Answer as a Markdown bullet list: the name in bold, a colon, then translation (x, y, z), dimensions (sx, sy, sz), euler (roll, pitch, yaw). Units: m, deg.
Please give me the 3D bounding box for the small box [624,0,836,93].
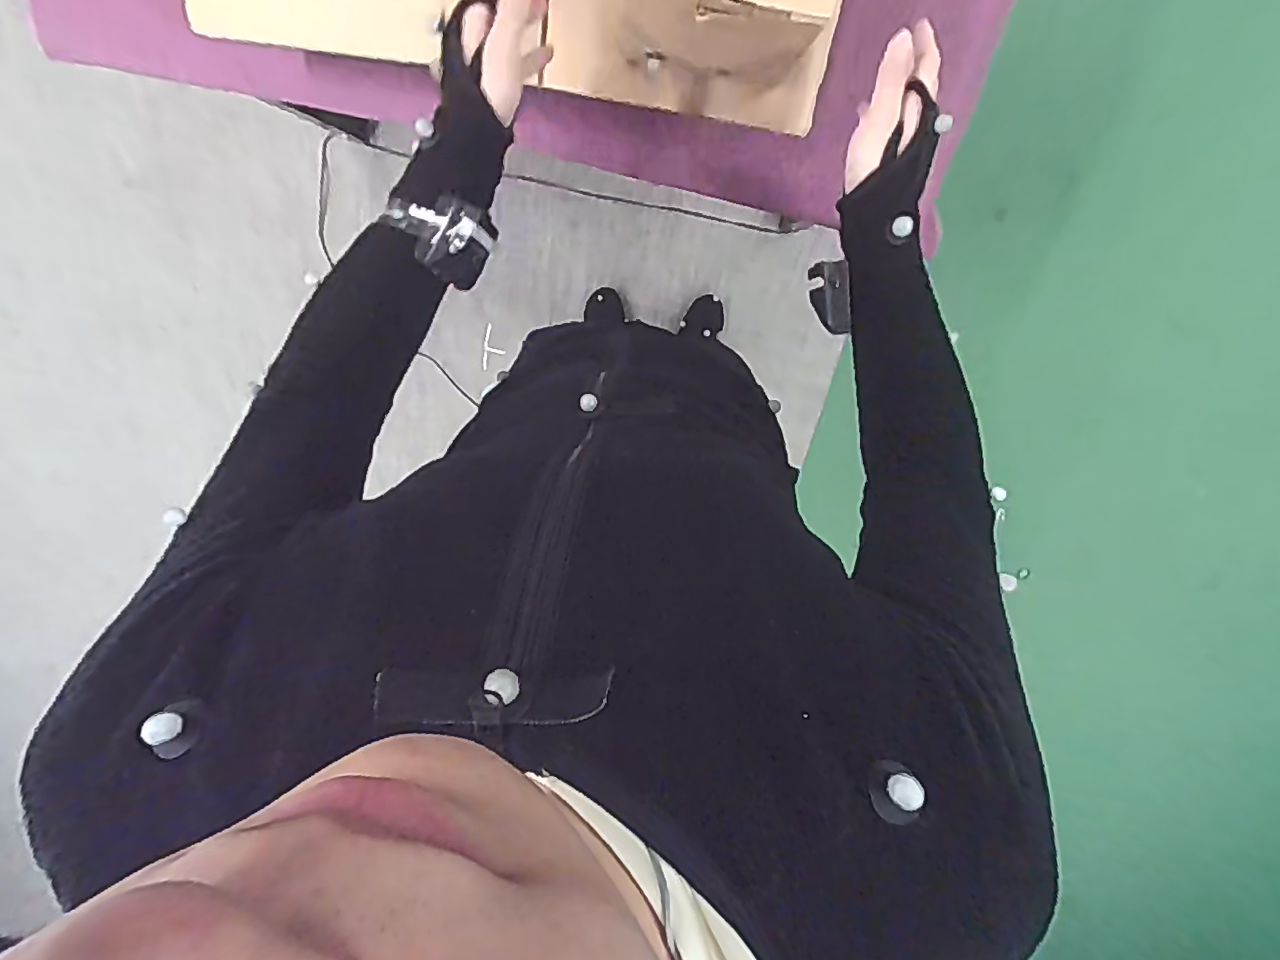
- **small box**: translation (0.081, -0.468, 0.464), dimensions (0.168, 0.176, 0.179), euler (8, 110, -5)
